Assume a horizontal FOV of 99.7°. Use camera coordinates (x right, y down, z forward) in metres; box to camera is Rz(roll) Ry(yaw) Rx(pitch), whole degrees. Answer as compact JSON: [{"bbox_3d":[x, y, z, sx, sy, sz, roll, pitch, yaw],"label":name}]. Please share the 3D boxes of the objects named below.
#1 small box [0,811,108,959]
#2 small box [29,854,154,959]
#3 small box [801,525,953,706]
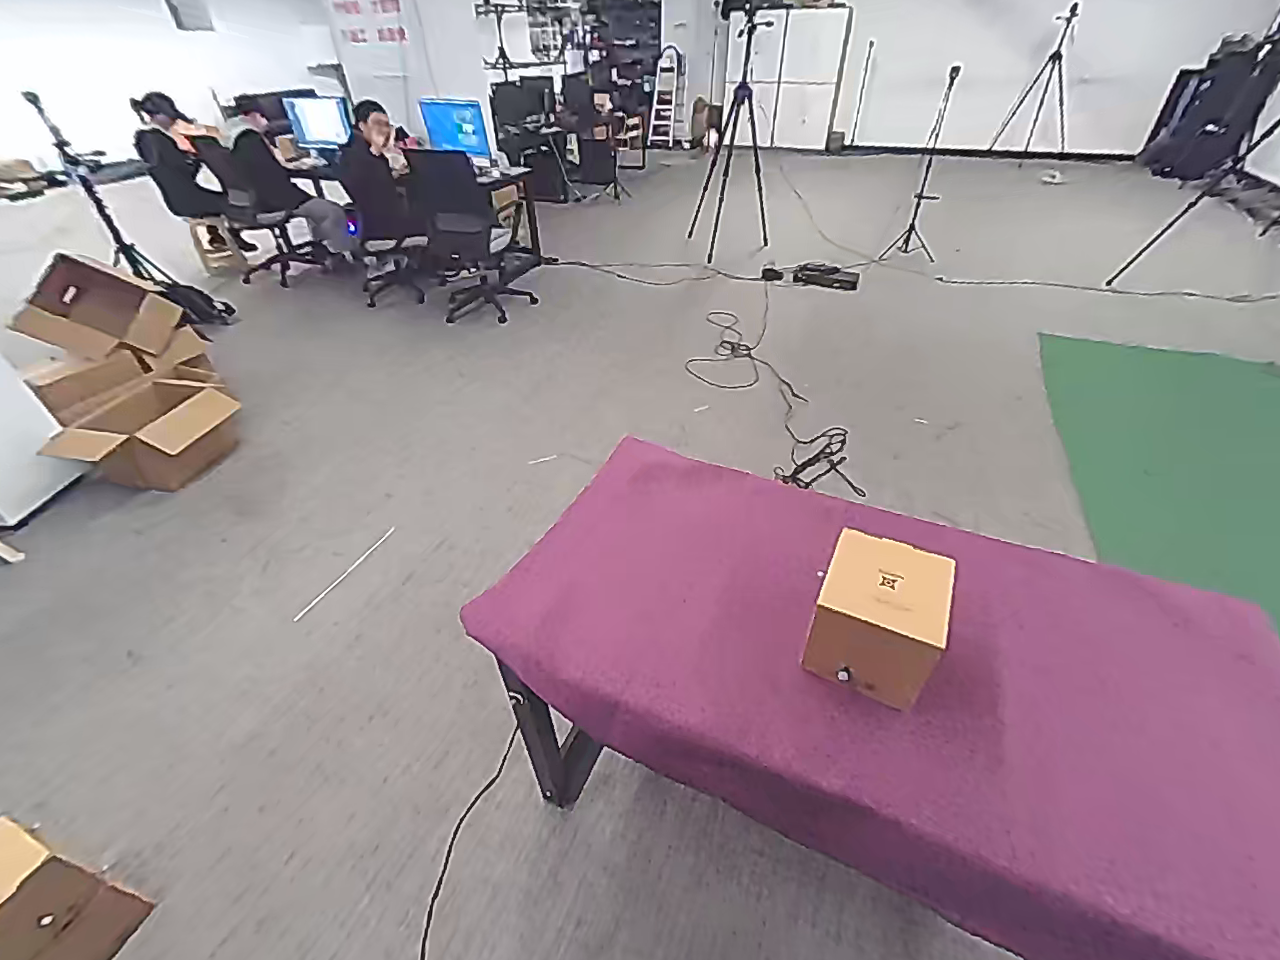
[{"bbox_3d":[-1.215,0.790,1.049,0.179,0.176,0.168,14,42,19],"label":"small box"},{"bbox_3d":[-1.205,0.922,1.148,0.179,0.176,0.168,13,41,18],"label":"small box"},{"bbox_3d":[0.359,0.205,0.833,0.168,0.176,0.179,18,43,23],"label":"small box"}]
